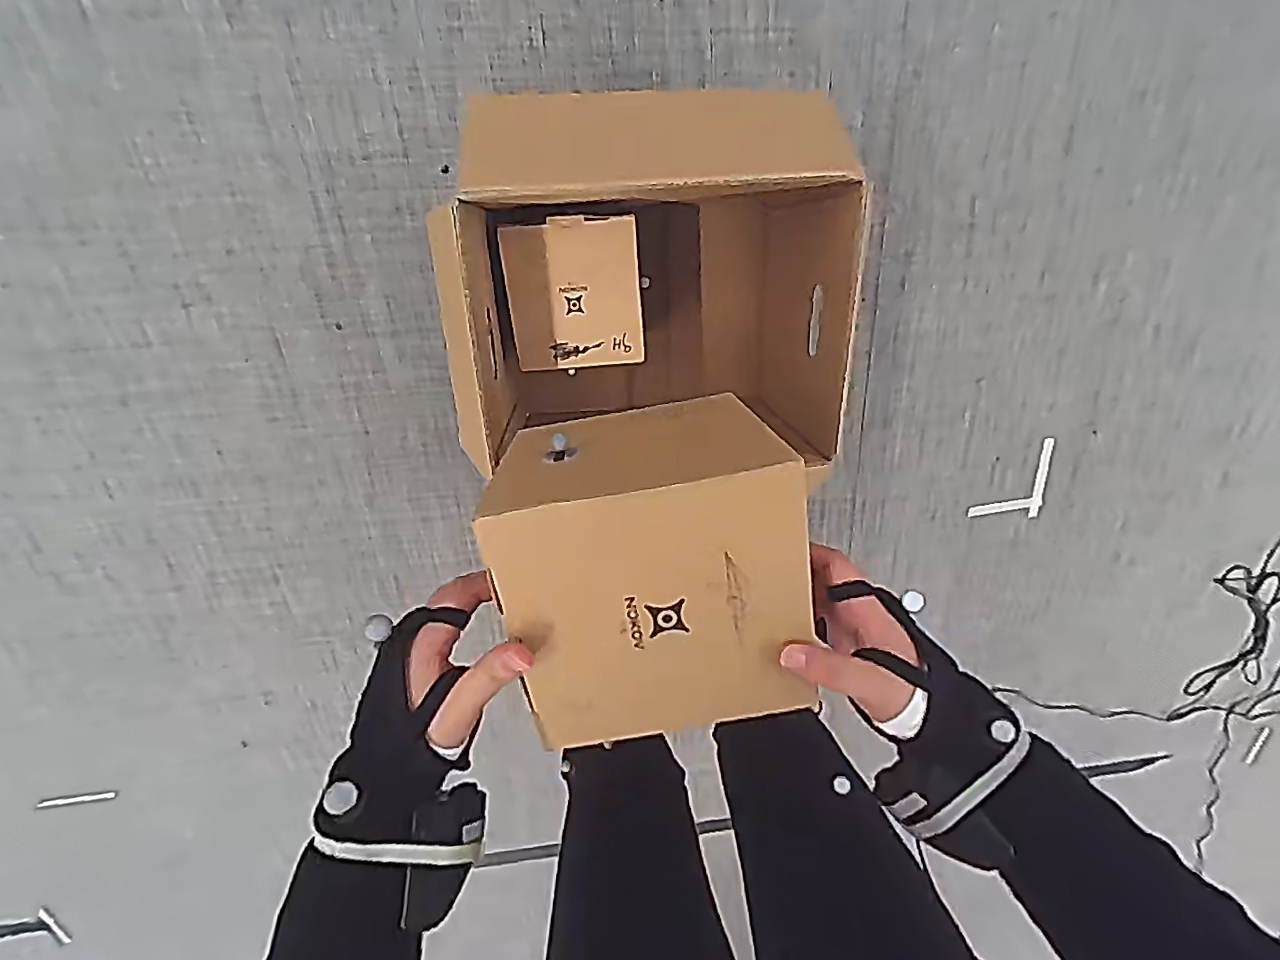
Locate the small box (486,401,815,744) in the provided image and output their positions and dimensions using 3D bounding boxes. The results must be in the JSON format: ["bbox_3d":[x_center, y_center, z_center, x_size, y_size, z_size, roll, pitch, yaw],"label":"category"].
[{"bbox_3d":[0.010,0.051,0.392,0.179,0.176,0.168,-11,112,0],"label":"small box"}]
